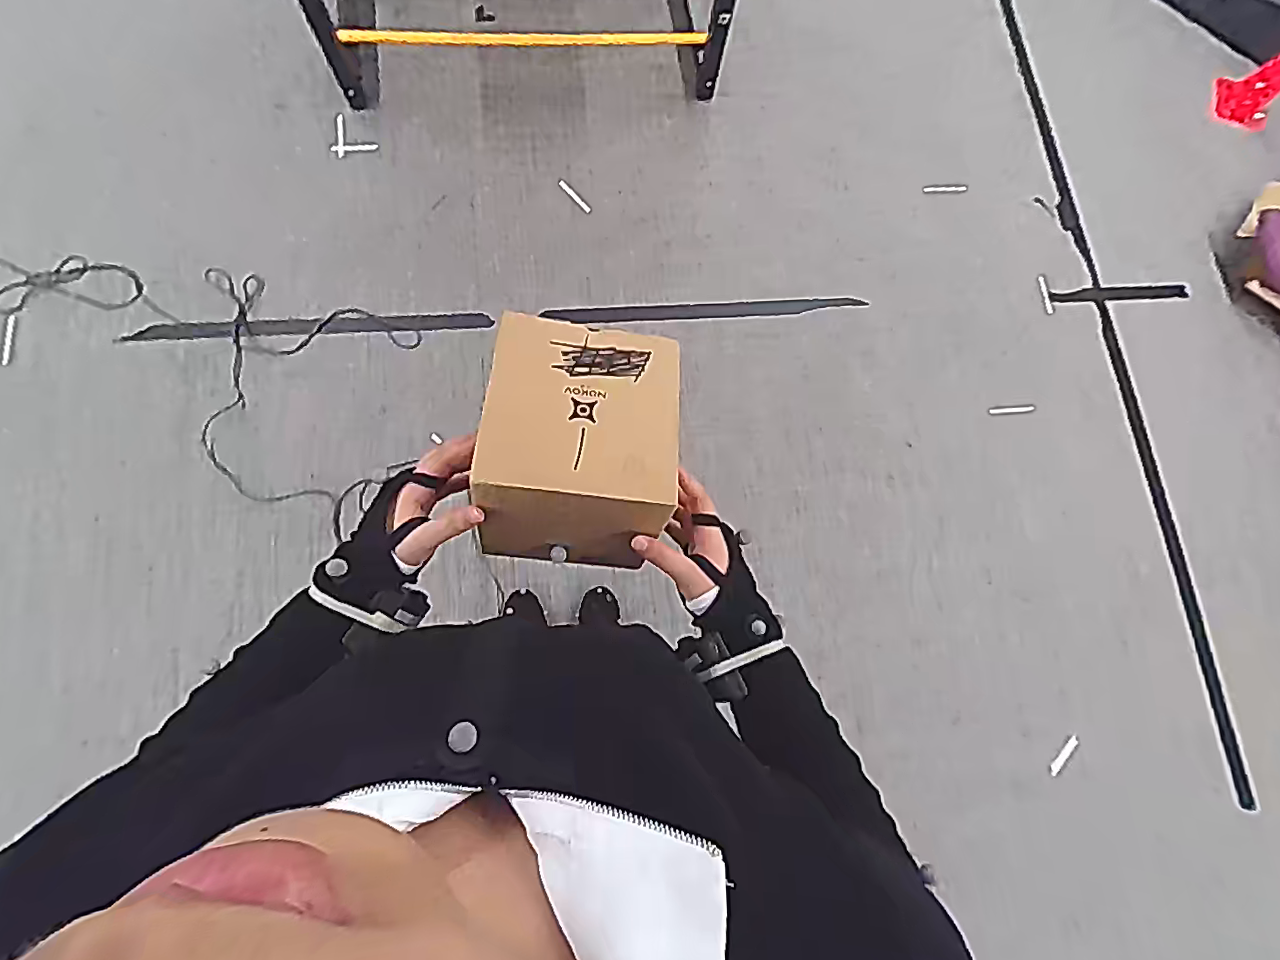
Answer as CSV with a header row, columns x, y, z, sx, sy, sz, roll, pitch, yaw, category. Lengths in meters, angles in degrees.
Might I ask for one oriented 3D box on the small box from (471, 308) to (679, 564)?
x,y,z,sx,sy,sz,roll,pitch,yaw,category
-0.062,-0.033,0.527,0.168,0.176,0.179,6,62,-8,small box
